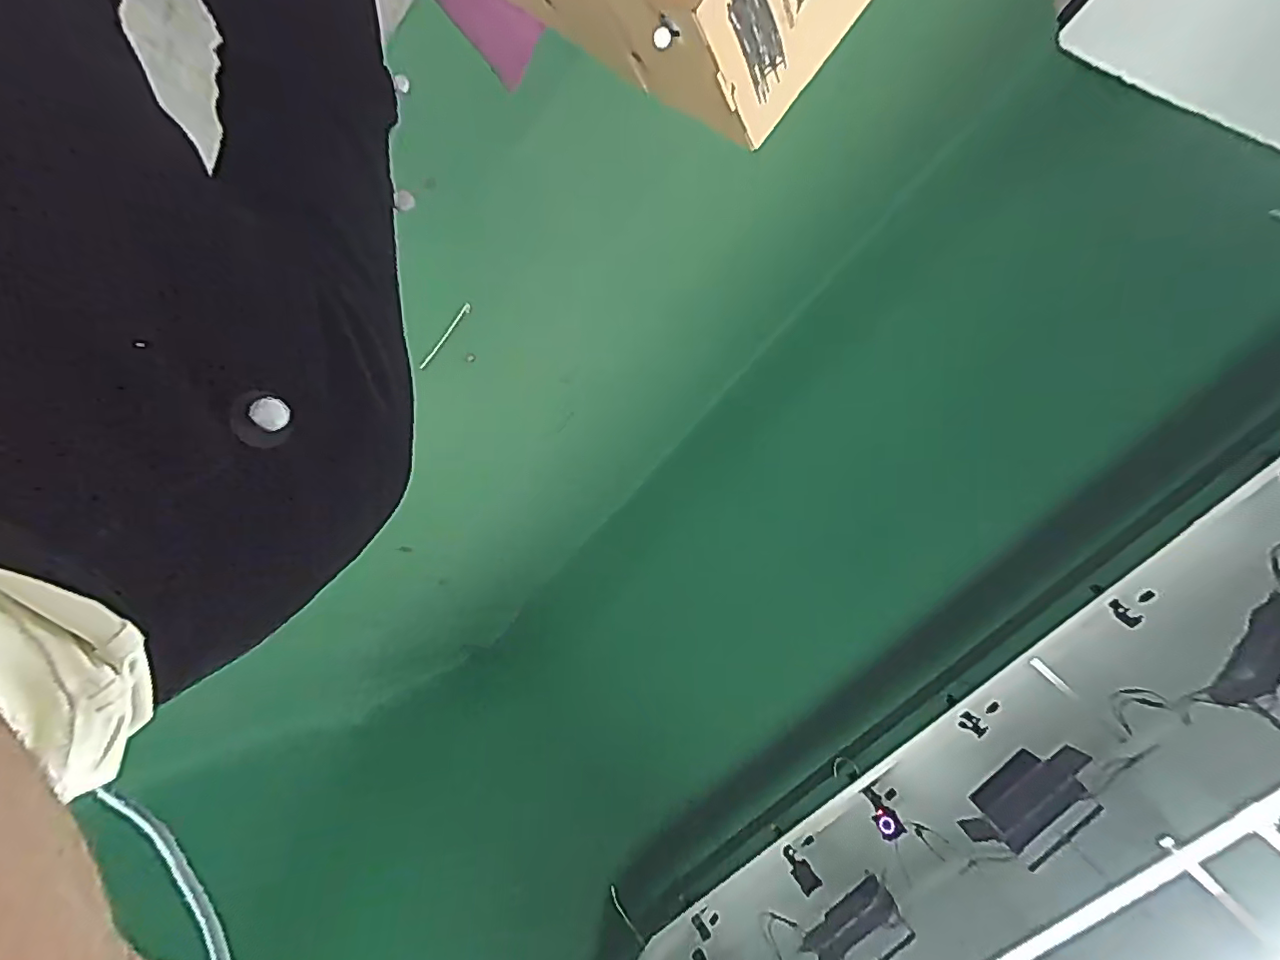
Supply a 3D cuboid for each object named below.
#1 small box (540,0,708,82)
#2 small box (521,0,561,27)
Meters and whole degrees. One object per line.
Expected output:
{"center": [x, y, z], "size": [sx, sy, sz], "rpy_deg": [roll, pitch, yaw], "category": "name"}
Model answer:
{"center": [-0.023, -0.574, 0.549], "size": [0.179, 0.176, 0.168], "rpy_deg": [-47, 157, 12], "category": "small box"}
{"center": [-0.129, -0.683, 0.607], "size": [0.168, 0.176, 0.179], "rpy_deg": [-48, 158, 11], "category": "small box"}
